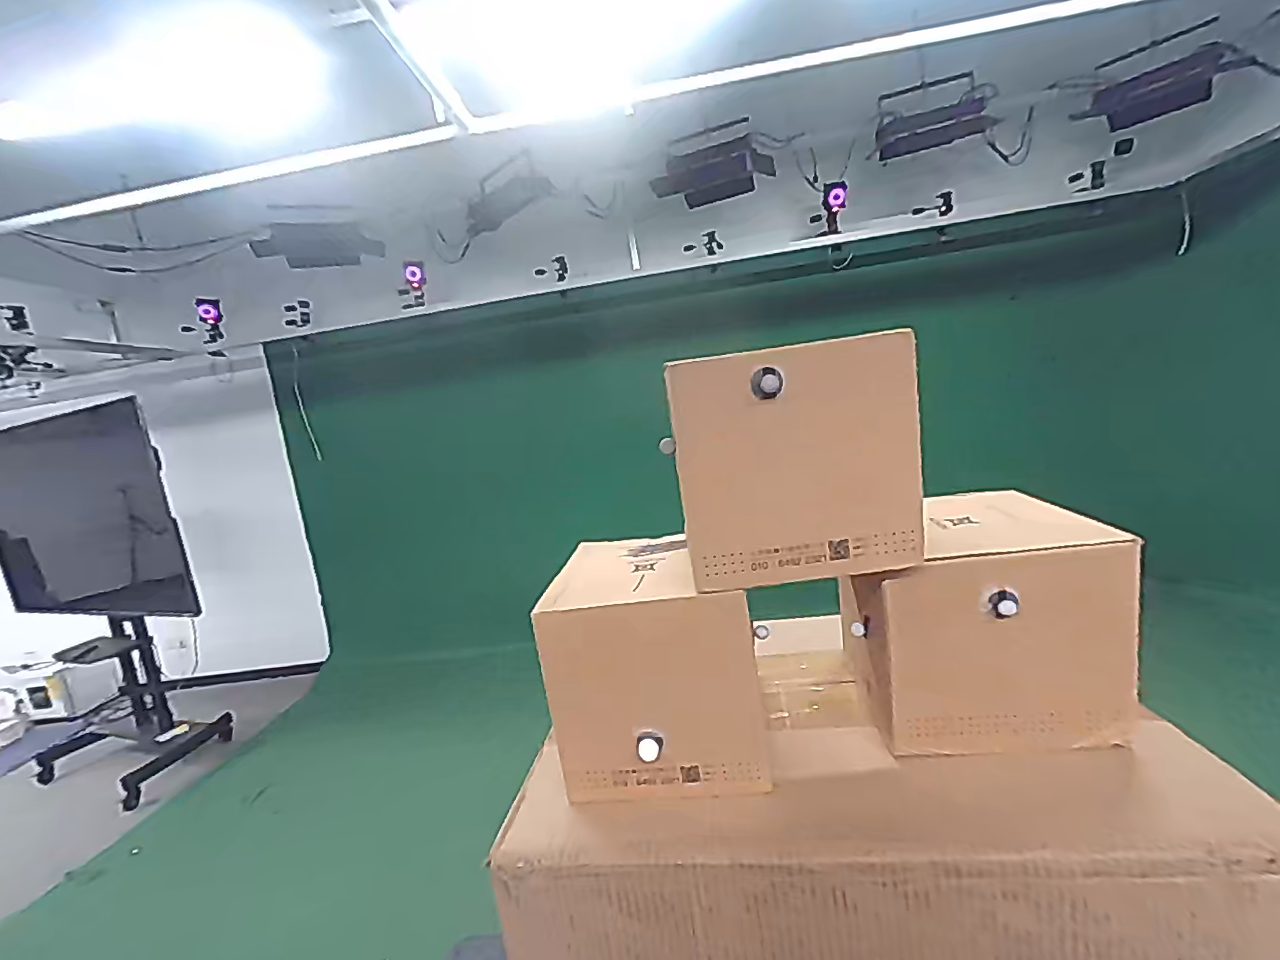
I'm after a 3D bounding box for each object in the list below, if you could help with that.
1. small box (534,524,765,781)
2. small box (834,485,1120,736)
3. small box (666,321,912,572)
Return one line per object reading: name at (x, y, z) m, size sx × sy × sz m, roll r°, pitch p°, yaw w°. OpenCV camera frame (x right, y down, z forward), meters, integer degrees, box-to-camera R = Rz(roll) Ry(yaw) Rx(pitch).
small box at (0.019, 0.145, 0.501) m, size 0.168 × 0.176 × 0.179 m, roll -8°, pitch 10°, yaw 9°
small box at (0.280, 0.108, 0.487) m, size 0.179 × 0.176 × 0.168 m, roll -5°, pitch 11°, yaw 8°
small box at (0.112, -0.031, 0.462) m, size 0.168 × 0.176 × 0.179 m, roll -7°, pitch 10°, yaw 3°
